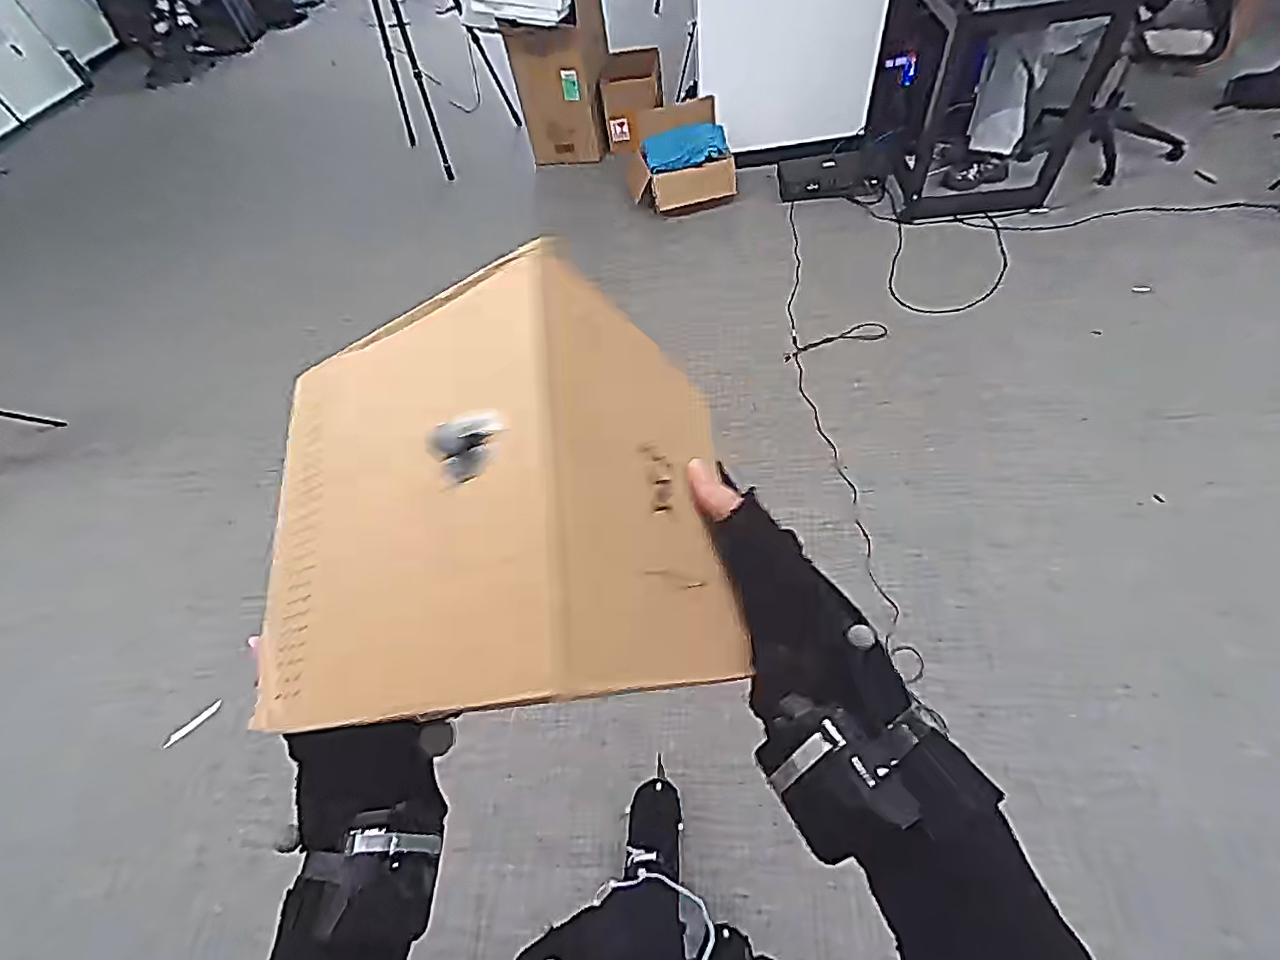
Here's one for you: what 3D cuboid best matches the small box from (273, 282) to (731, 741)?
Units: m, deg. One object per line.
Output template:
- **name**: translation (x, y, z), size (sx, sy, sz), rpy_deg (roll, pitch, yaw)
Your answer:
- **small box**: translation (-0.070, 0.035, 0.303), size (0.176, 0.168, 0.179), rpy_deg (-19, 65, 27)
